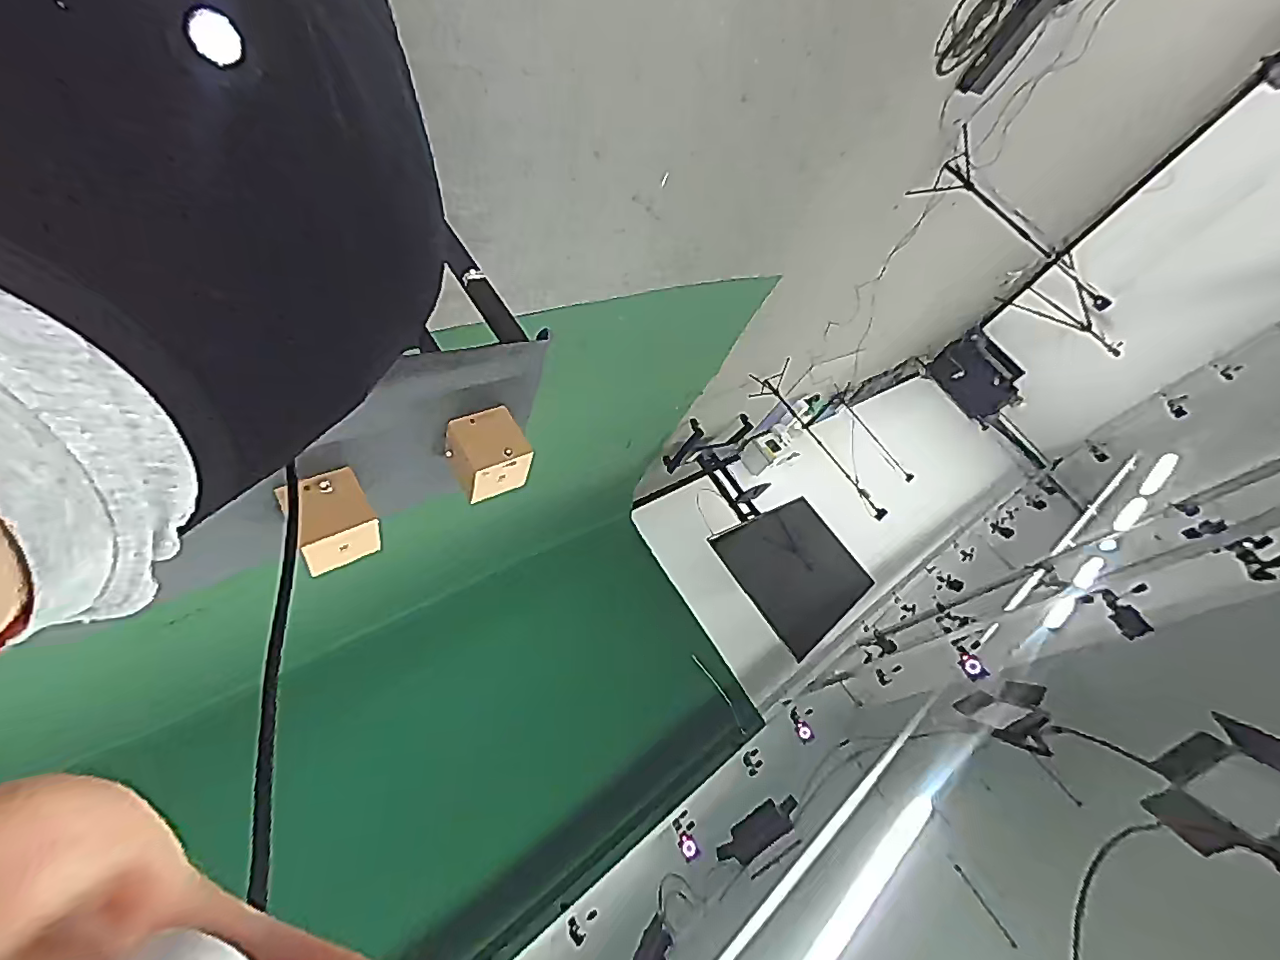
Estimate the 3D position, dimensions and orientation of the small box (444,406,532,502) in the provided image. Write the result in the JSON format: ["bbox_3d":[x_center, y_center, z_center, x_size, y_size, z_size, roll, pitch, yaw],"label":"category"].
[{"bbox_3d":[-0.422,-0.074,1.480,0.168,0.176,0.179,-25,163,-33],"label":"small box"}]

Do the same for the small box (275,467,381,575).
[{"bbox_3d":[-0.752,0.097,1.313,0.168,0.176,0.179,-26,161,-32],"label":"small box"}]
